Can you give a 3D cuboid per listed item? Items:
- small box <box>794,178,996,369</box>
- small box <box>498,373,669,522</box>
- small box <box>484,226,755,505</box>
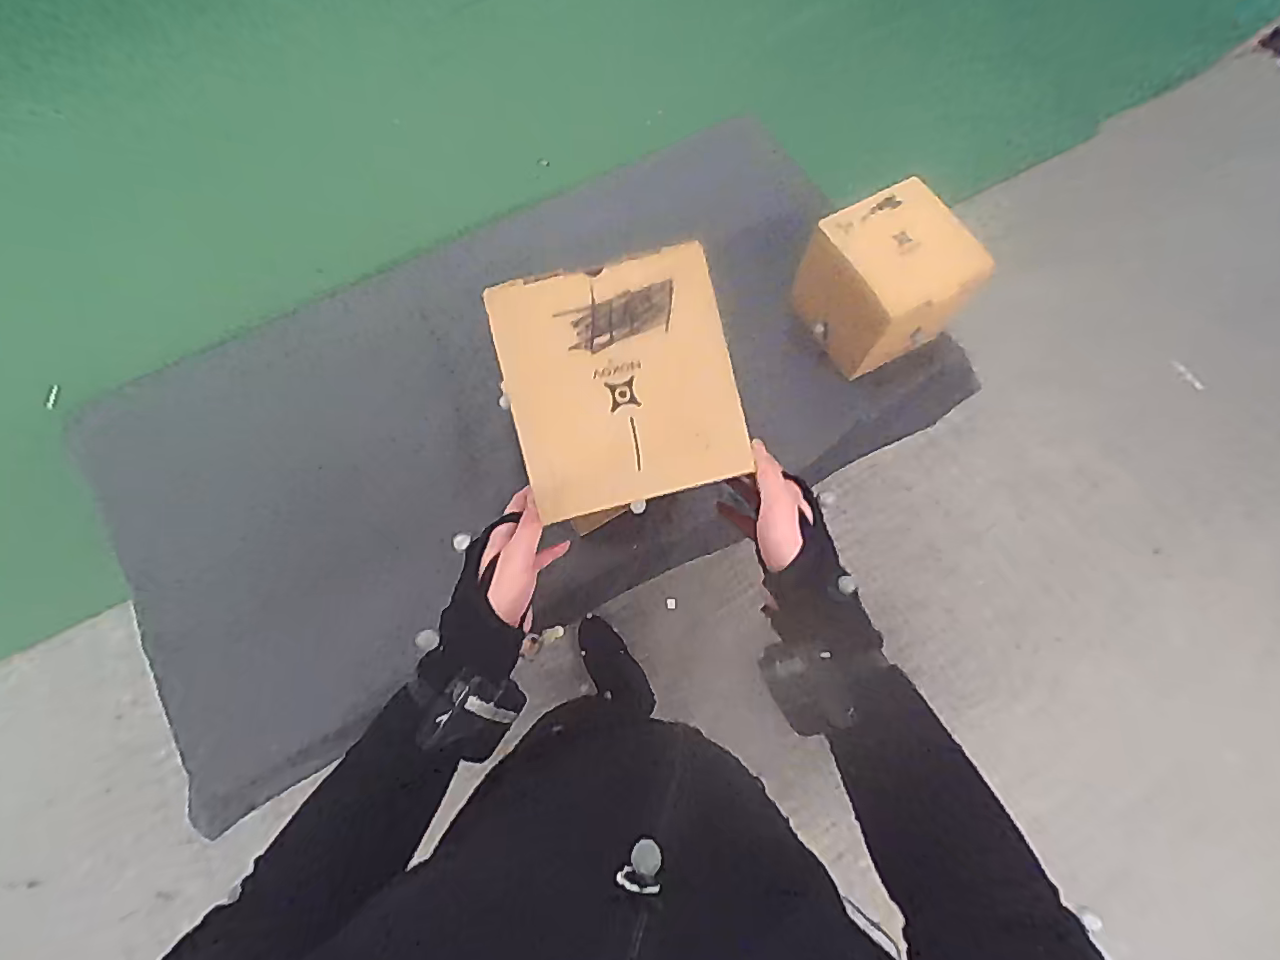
[{"bbox_3d":[0.352,-0.284,0.784,0.168,0.176,0.179,-26,74,-7],"label":"small box"},{"bbox_3d":[-0.058,-0.061,0.702,0.168,0.176,0.179,-28,73,-12],"label":"small box"},{"bbox_3d":[-0.019,-0.082,0.463,0.168,0.176,0.179,-13,91,-3],"label":"small box"}]
